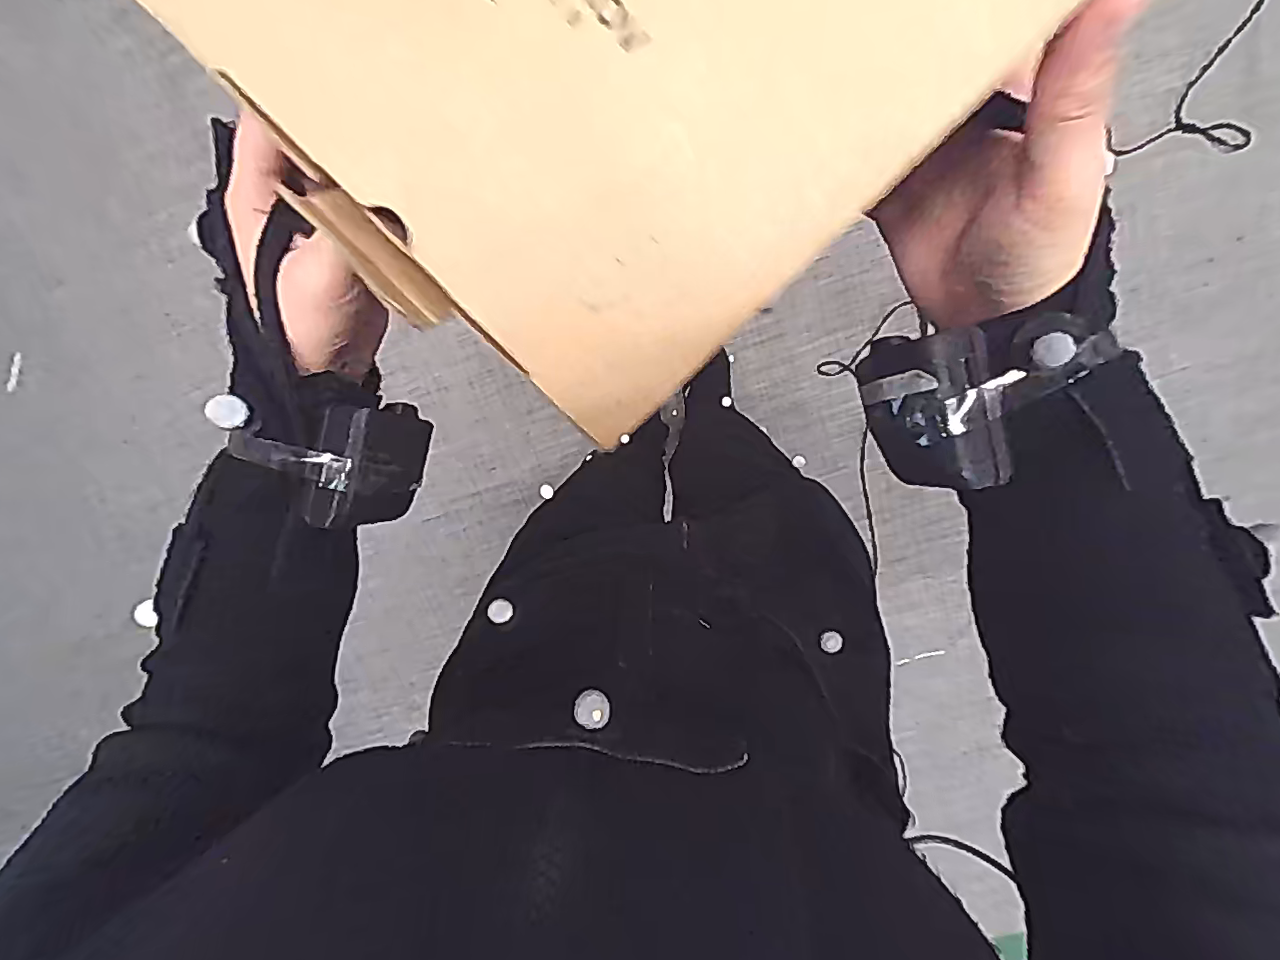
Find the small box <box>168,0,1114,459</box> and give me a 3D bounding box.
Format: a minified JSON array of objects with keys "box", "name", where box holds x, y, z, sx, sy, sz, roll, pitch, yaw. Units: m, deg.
[{"box":[0.000,-0.142,0.206,0.179,0.176,0.168,-42,104,16],"name":"small box"}]
